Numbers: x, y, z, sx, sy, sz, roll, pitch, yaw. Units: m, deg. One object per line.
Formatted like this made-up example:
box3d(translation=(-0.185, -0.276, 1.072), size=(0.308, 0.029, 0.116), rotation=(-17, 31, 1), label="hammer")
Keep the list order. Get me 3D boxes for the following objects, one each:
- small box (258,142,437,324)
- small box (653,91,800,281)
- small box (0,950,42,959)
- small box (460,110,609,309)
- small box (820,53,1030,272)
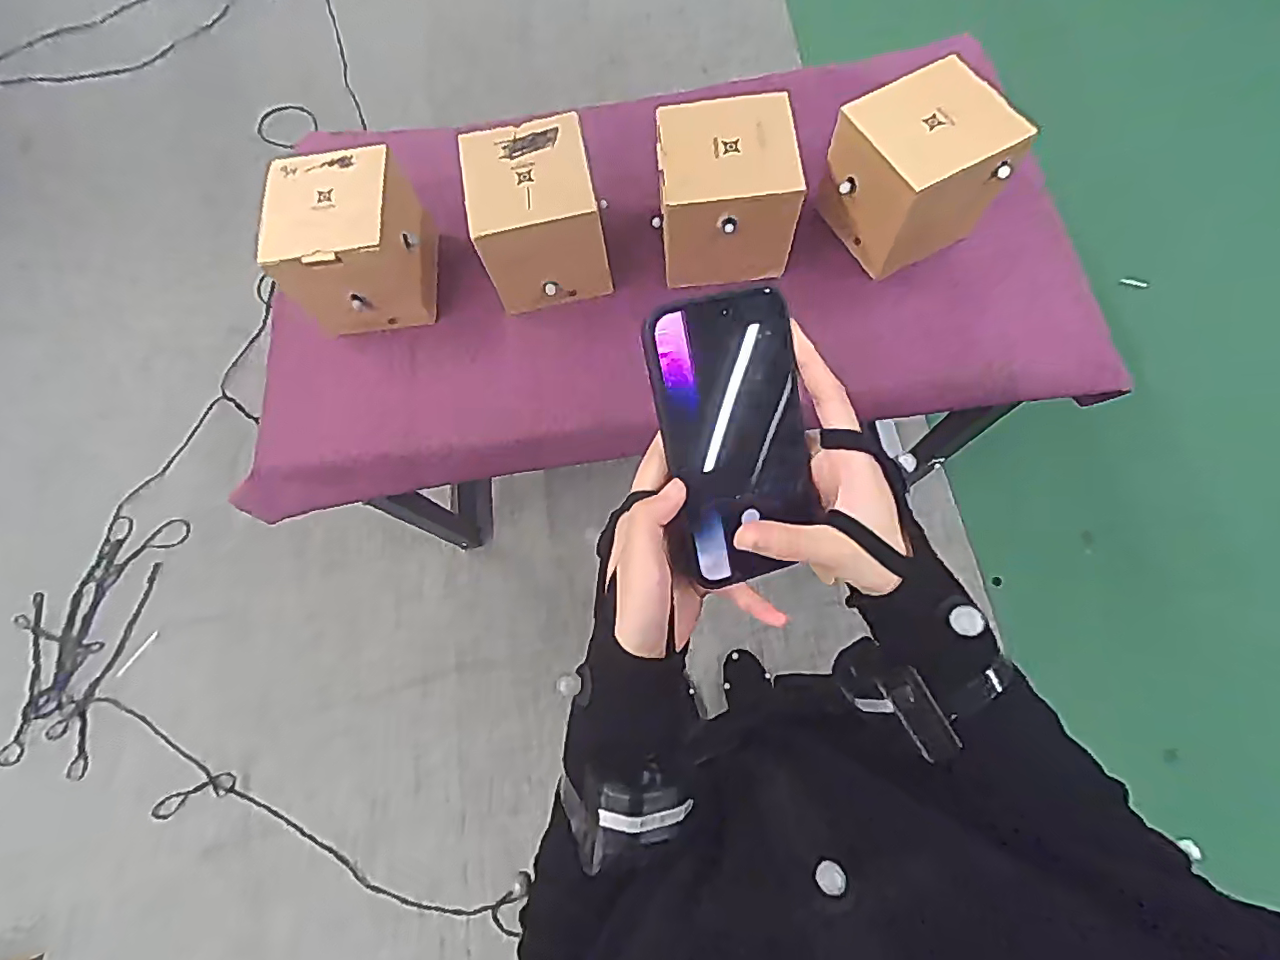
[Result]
box3d(translation=(-0.410, -0.345, 0.790), size=(0.168, 0.176, 0.179), rotation=(-6, 73, 3), label="small box")
box3d(translation=(0.114, -0.403, 0.765), size=(0.179, 0.176, 0.168), rotation=(-4, 73, 3), label="small box")
box3d(translation=(-1.454, 1.159, 1.157), size=(0.179, 0.176, 0.168), rotation=(-16, 72, 0), label="small box")
box3d(translation=(-0.144, -0.379, 0.778), size=(0.168, 0.176, 0.179), rotation=(-11, 72, 1), label="small box")
box3d(translation=(0.371, -0.427, 0.750), size=(0.179, 0.176, 0.168), rotation=(-27, 71, -4), label="small box")
